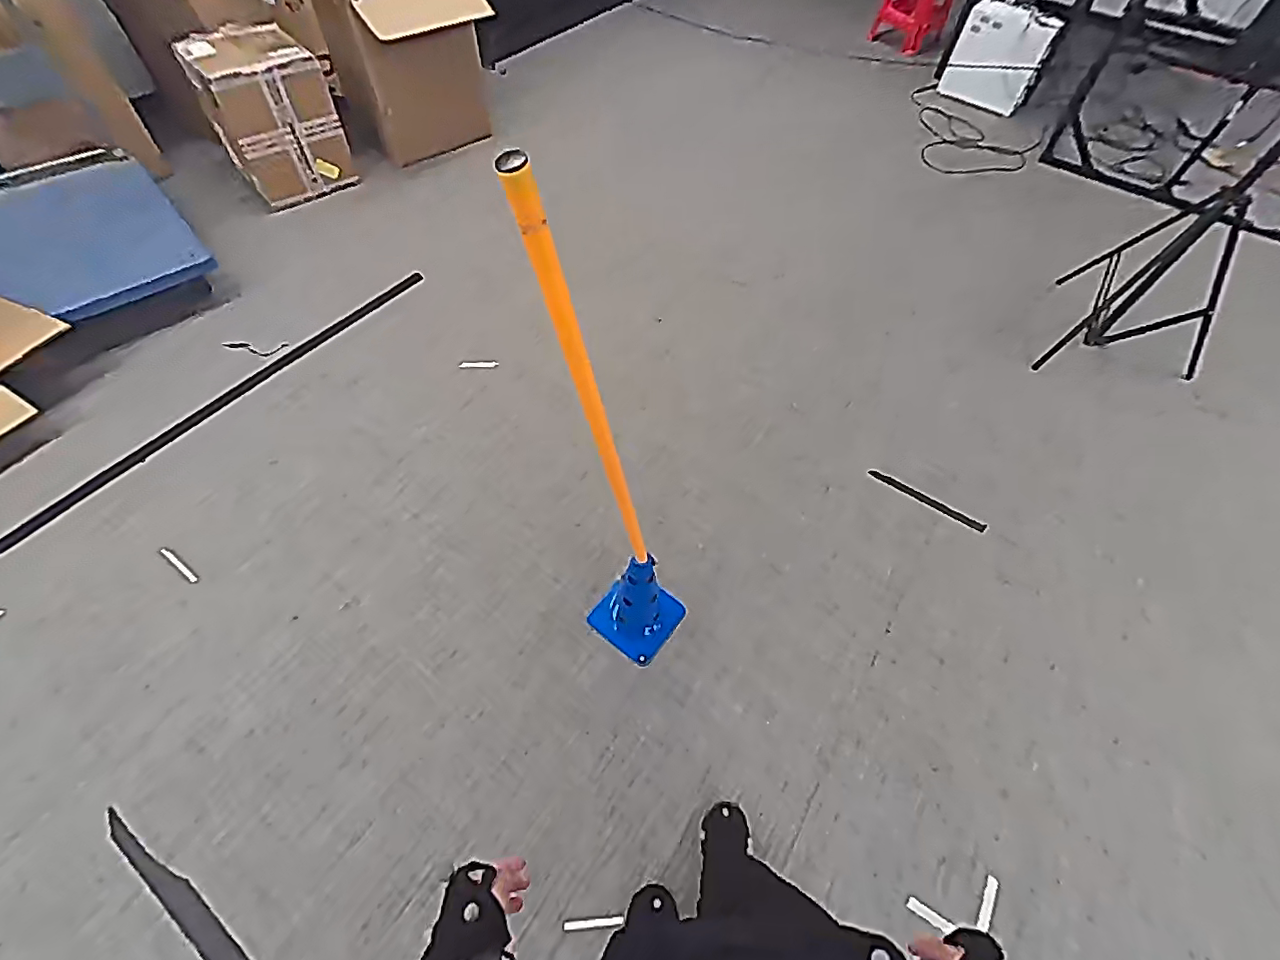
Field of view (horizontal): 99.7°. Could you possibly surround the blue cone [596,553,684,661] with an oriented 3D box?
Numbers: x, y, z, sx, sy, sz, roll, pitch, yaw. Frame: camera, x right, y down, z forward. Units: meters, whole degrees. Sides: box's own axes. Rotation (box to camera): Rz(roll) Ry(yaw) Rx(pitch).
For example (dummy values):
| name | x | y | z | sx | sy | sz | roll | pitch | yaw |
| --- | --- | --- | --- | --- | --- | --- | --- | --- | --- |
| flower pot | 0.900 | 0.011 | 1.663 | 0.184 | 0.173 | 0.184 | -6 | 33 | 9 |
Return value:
| name | x | y | z | sx | sy | sz | roll | pitch | yaw |
| --- | --- | --- | --- | --- | --- | --- | --- | --- | --- |
| blue cone | 0.007 | 0.262 | 1.276 | 0.192 | 0.380 | 0.193 | 36 | 62 | 18 |
